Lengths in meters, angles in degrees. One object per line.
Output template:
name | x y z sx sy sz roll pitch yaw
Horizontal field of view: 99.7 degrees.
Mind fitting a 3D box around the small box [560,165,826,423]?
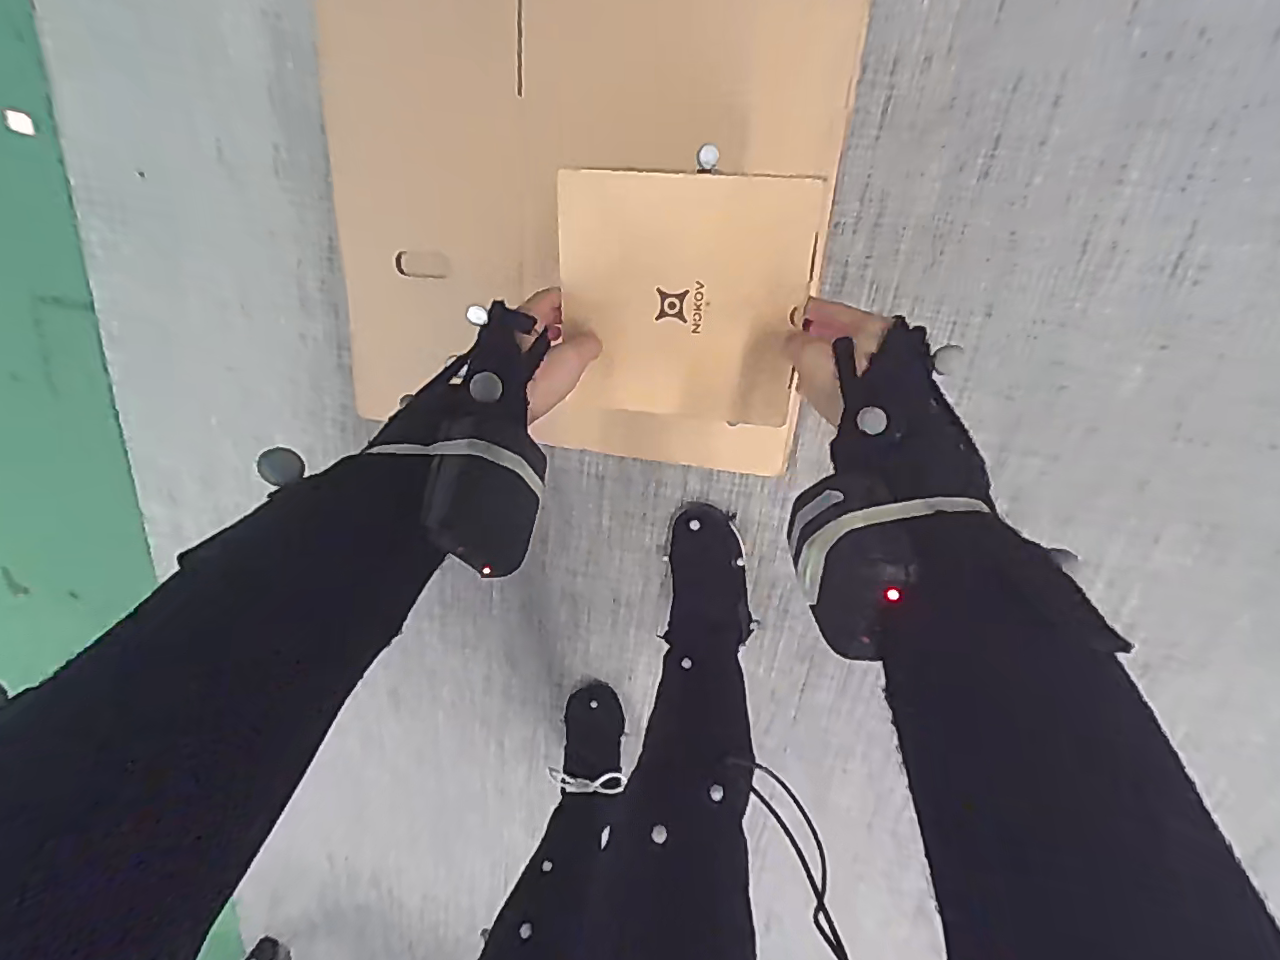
small box | 0.044 -0.162 0.453 0.179 0.176 0.168 7 119 9
